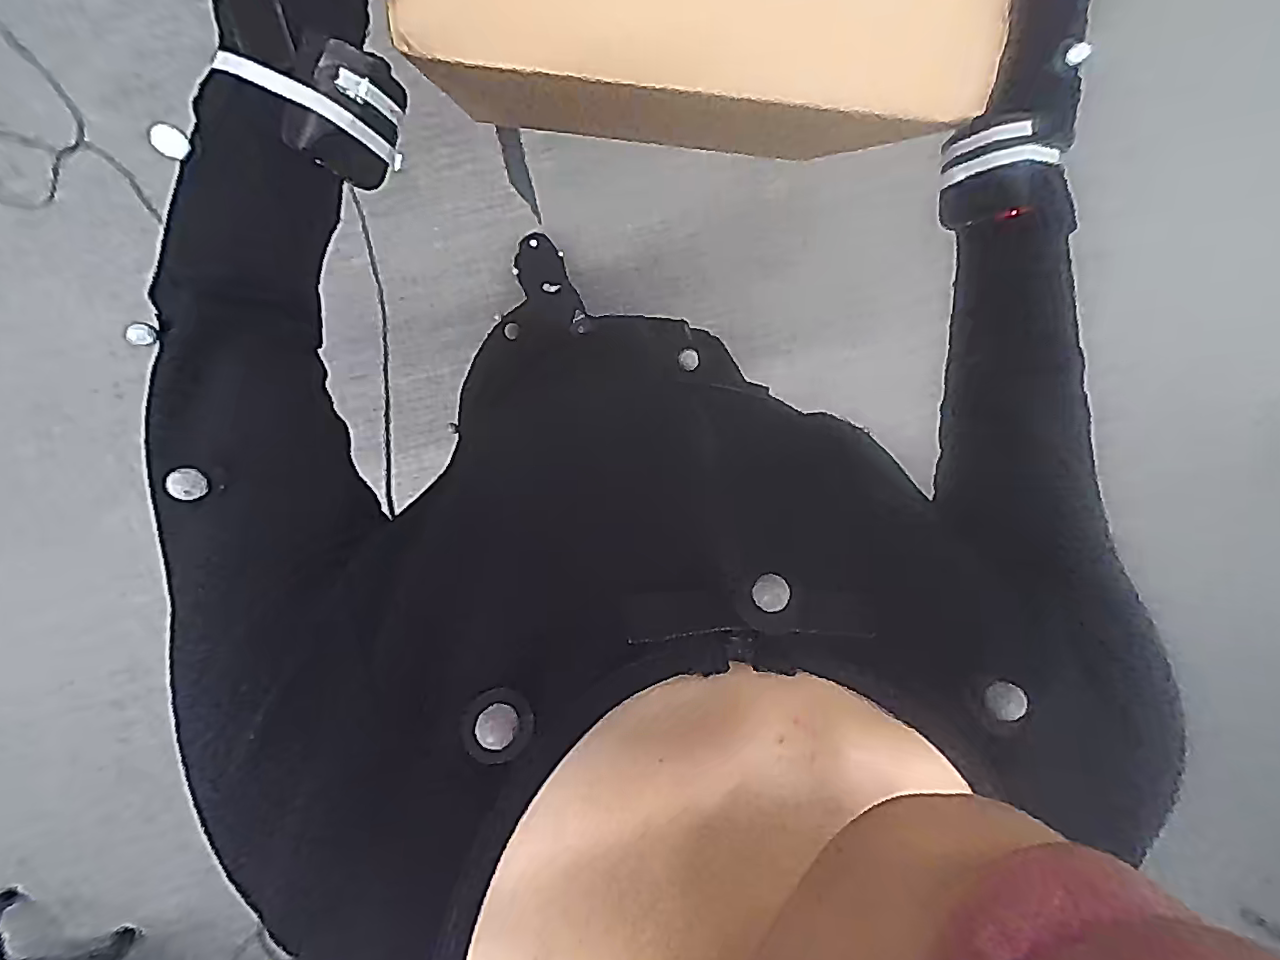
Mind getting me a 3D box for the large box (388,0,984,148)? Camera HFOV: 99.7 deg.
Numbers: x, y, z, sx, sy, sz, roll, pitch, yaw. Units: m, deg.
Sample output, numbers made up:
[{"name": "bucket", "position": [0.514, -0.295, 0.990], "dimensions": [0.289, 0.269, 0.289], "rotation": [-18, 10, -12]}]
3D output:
[{"name": "large box", "position": [0.025, -0.476, 0.437], "dimensions": [0.408, 0.320, 0.320], "rotation": [0, 116, -8]}]
